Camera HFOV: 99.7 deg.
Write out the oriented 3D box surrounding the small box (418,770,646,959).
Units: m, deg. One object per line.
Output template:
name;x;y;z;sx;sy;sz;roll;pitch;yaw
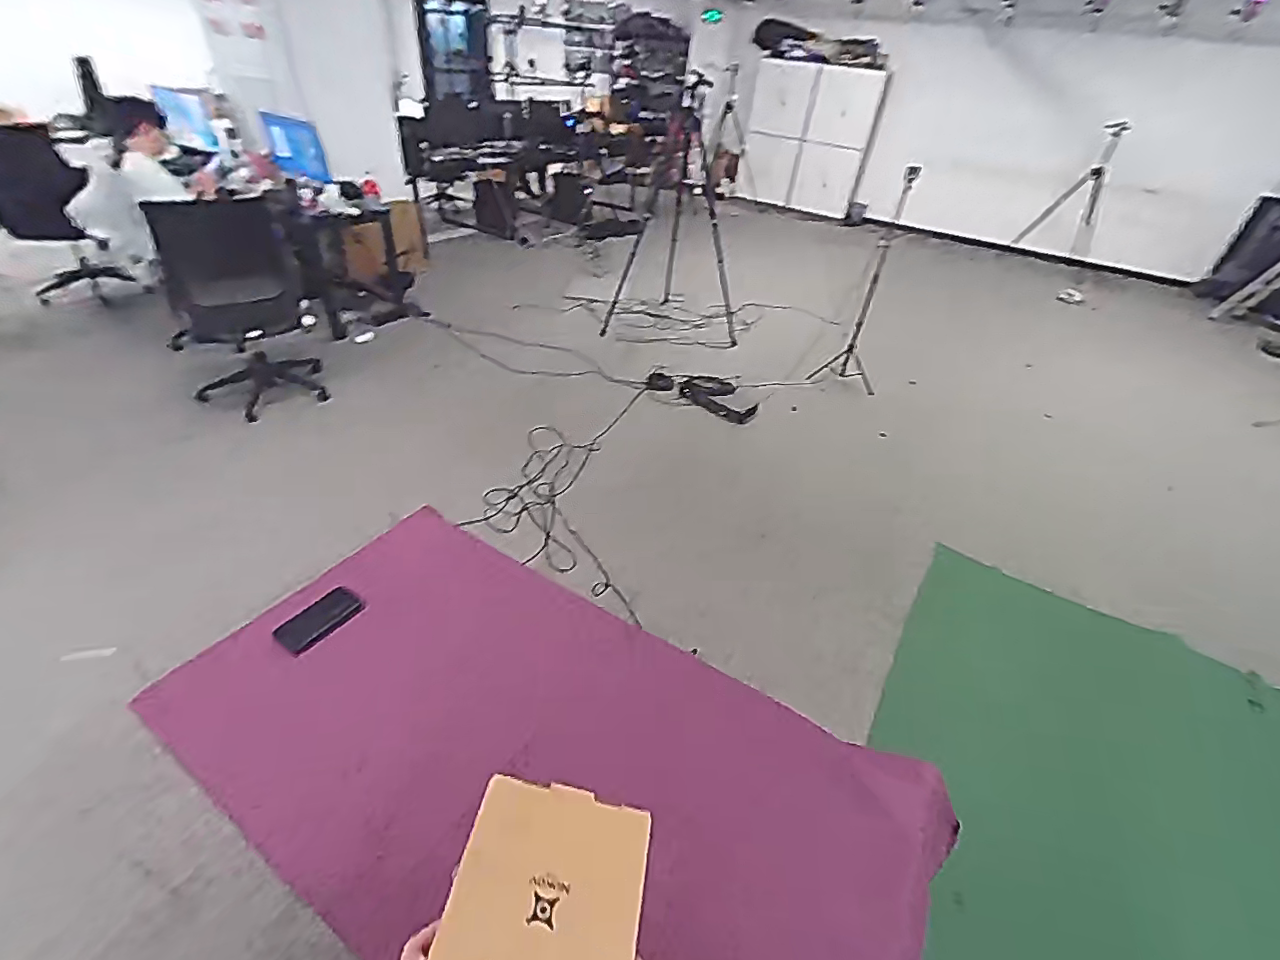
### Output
small box;-0.099;0.420;0.519;0.168;0.176;0.179;13;39;1
